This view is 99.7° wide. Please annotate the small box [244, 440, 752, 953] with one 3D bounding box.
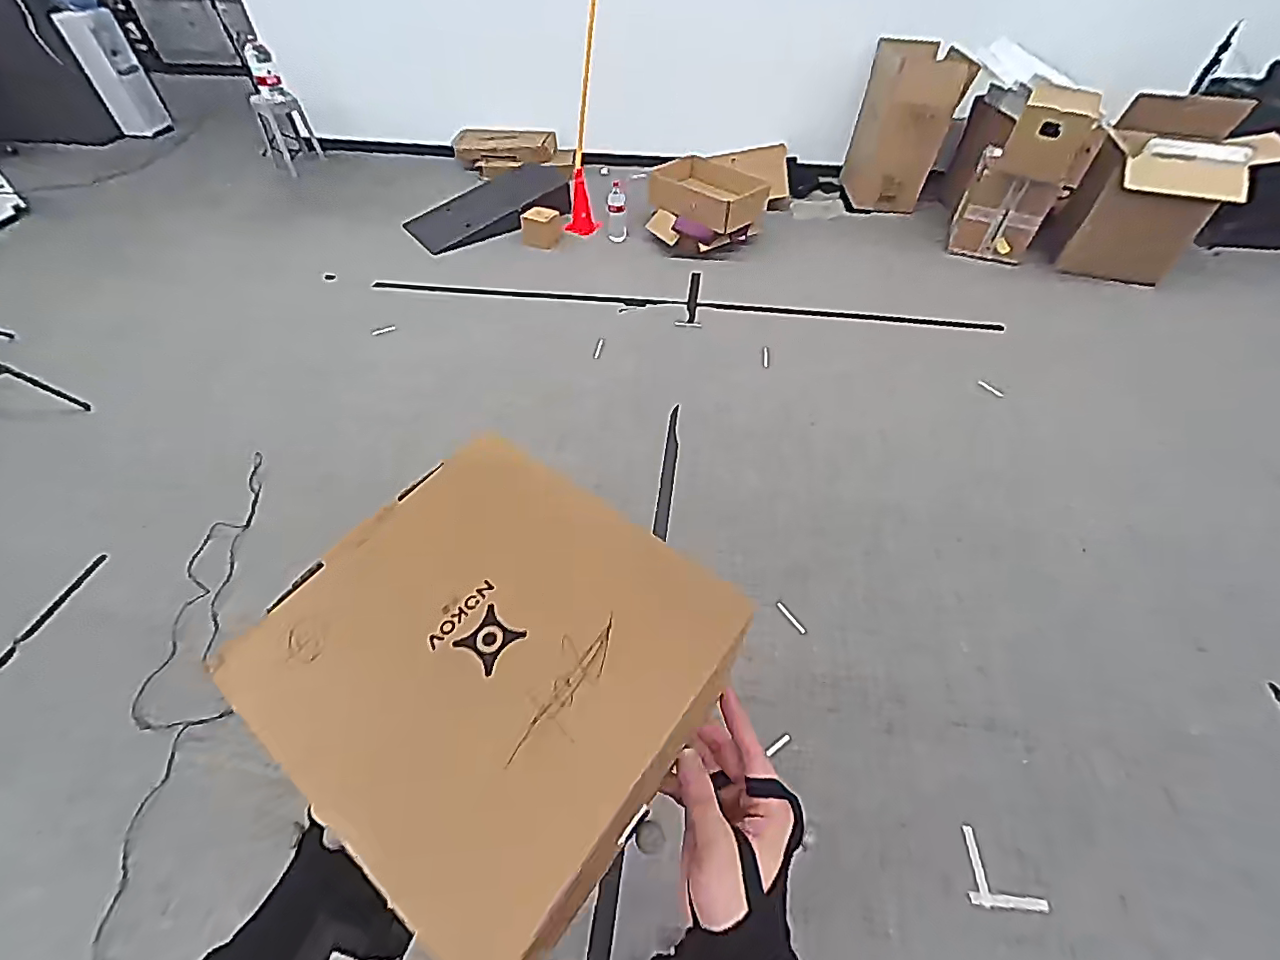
[{"bbox_3d":[-0.062,0.115,0.313,0.179,0.176,0.168,31,61,21],"label":"small box"}]
